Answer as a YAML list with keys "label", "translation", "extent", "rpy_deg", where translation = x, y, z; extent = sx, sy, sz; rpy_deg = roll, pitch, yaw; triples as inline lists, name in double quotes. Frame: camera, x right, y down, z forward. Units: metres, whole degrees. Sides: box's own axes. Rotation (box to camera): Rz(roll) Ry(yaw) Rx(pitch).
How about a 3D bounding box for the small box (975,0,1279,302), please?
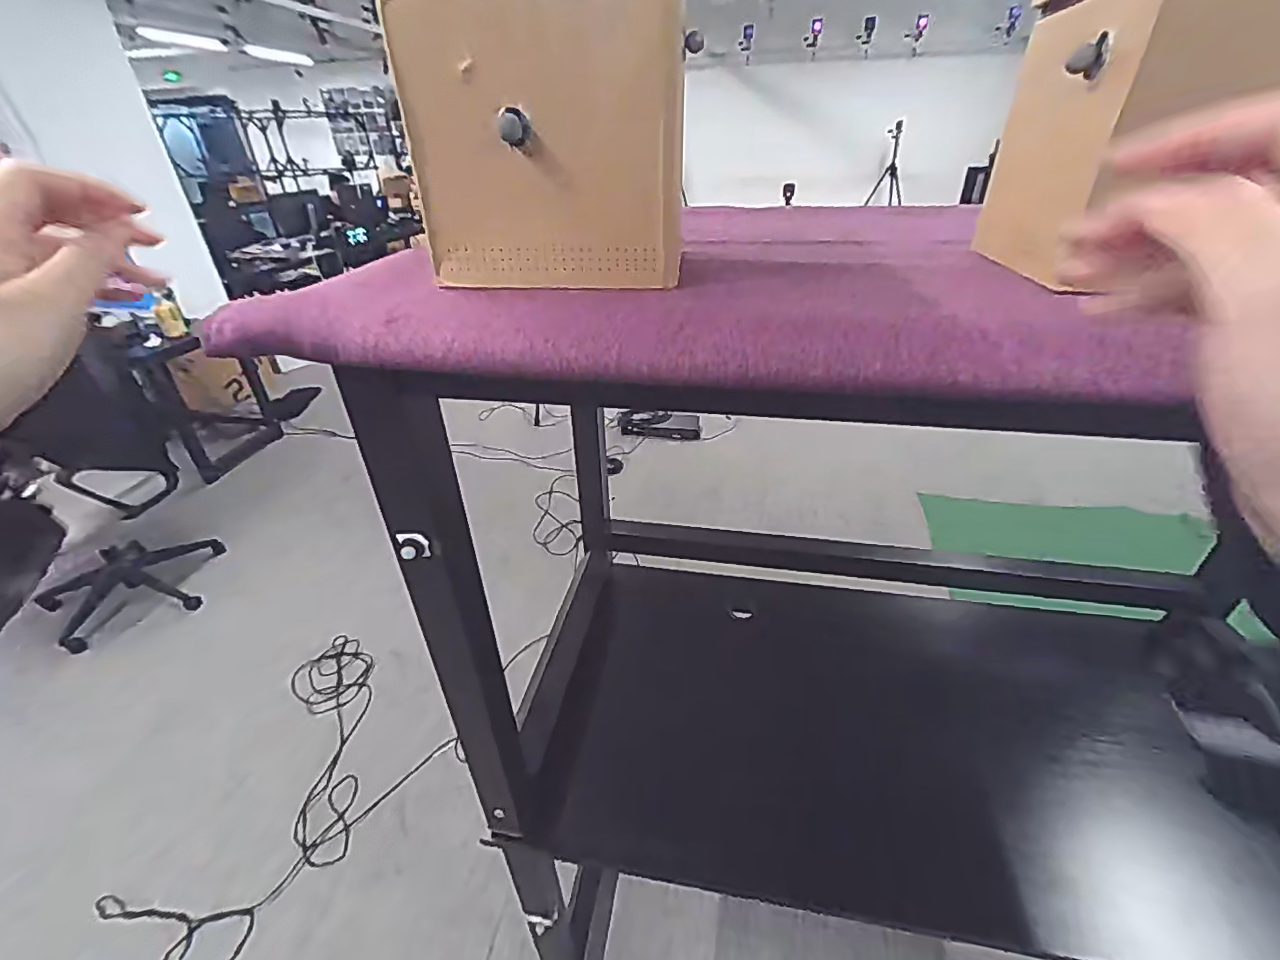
- label: "small box"
  translation: [0.363, -0.226, 0.367]
  extent: [0.168, 0.176, 0.179]
  rpy_deg: [6, 32, 10]

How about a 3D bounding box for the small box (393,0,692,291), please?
- label: "small box"
  translation: [-0.050, -0.249, 0.417]
  extent: [0.179, 0.176, 0.168]
  rpy_deg: [2, 34, 5]
